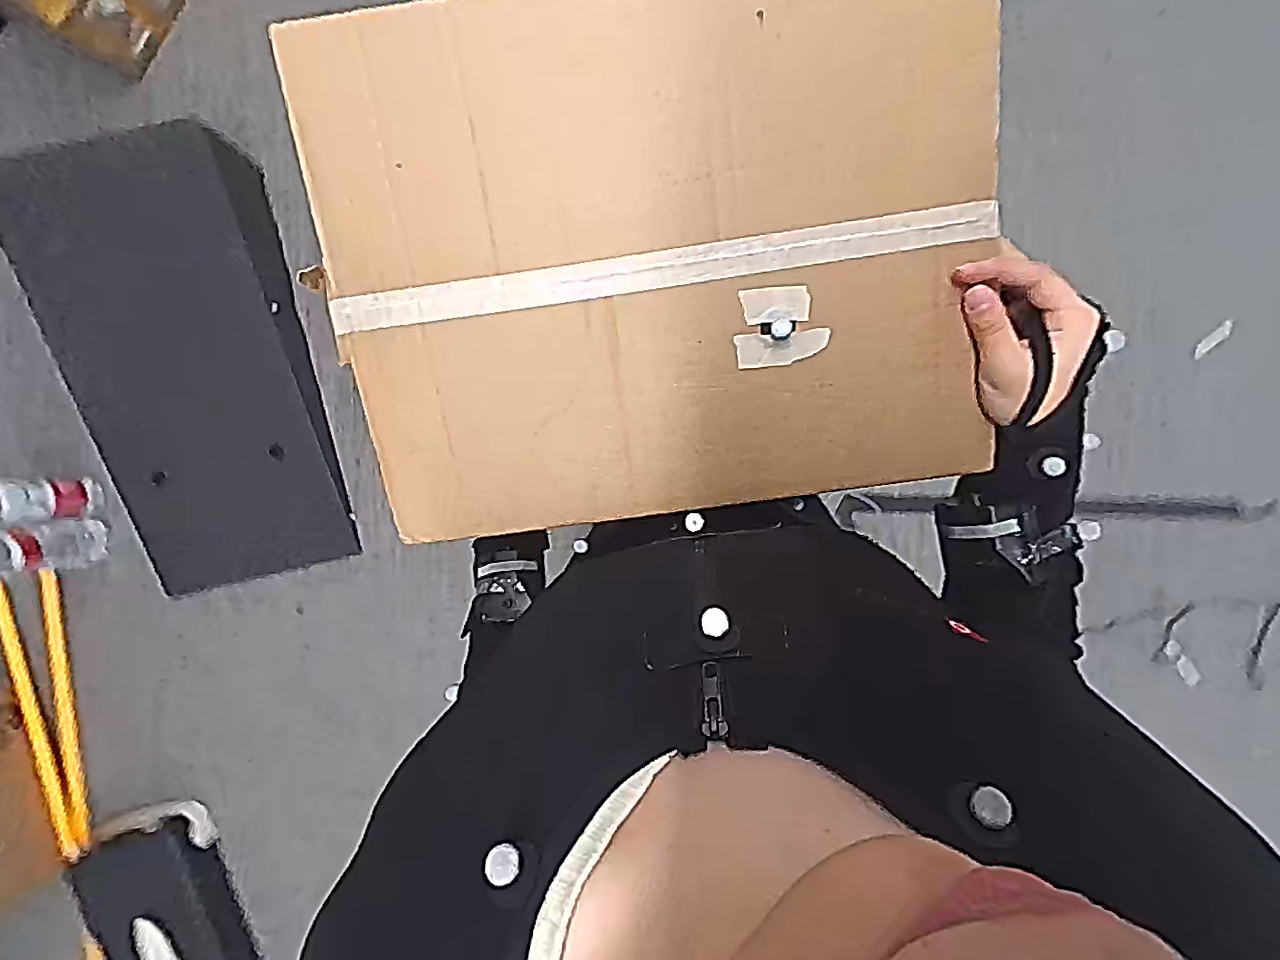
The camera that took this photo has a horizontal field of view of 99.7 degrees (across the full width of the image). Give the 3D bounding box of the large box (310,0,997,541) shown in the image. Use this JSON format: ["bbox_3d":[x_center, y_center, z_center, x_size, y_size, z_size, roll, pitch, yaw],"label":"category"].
[{"bbox_3d":[0.020,-0.164,0.486,0.408,0.320,0.320,-7,104,1],"label":"large box"}]
